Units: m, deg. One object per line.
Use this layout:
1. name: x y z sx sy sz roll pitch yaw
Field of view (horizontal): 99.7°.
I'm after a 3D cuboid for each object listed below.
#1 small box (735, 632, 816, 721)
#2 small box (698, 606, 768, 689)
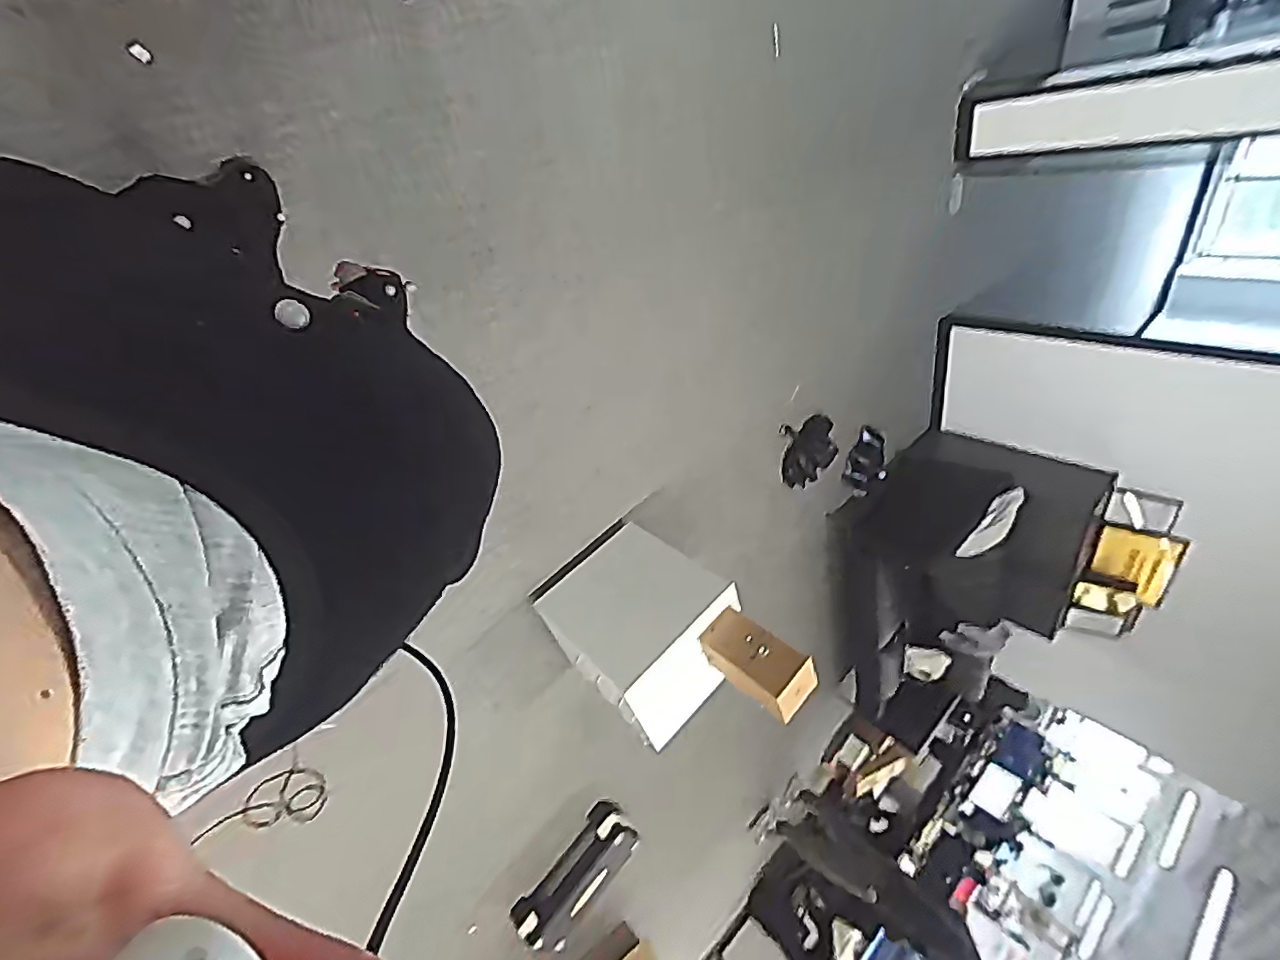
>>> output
1. small box: 0.424 0.610 1.697 0.168 0.176 0.179 -43 133 -19
2. small box: 0.321 0.555 1.811 0.168 0.176 0.179 -41 133 -20
